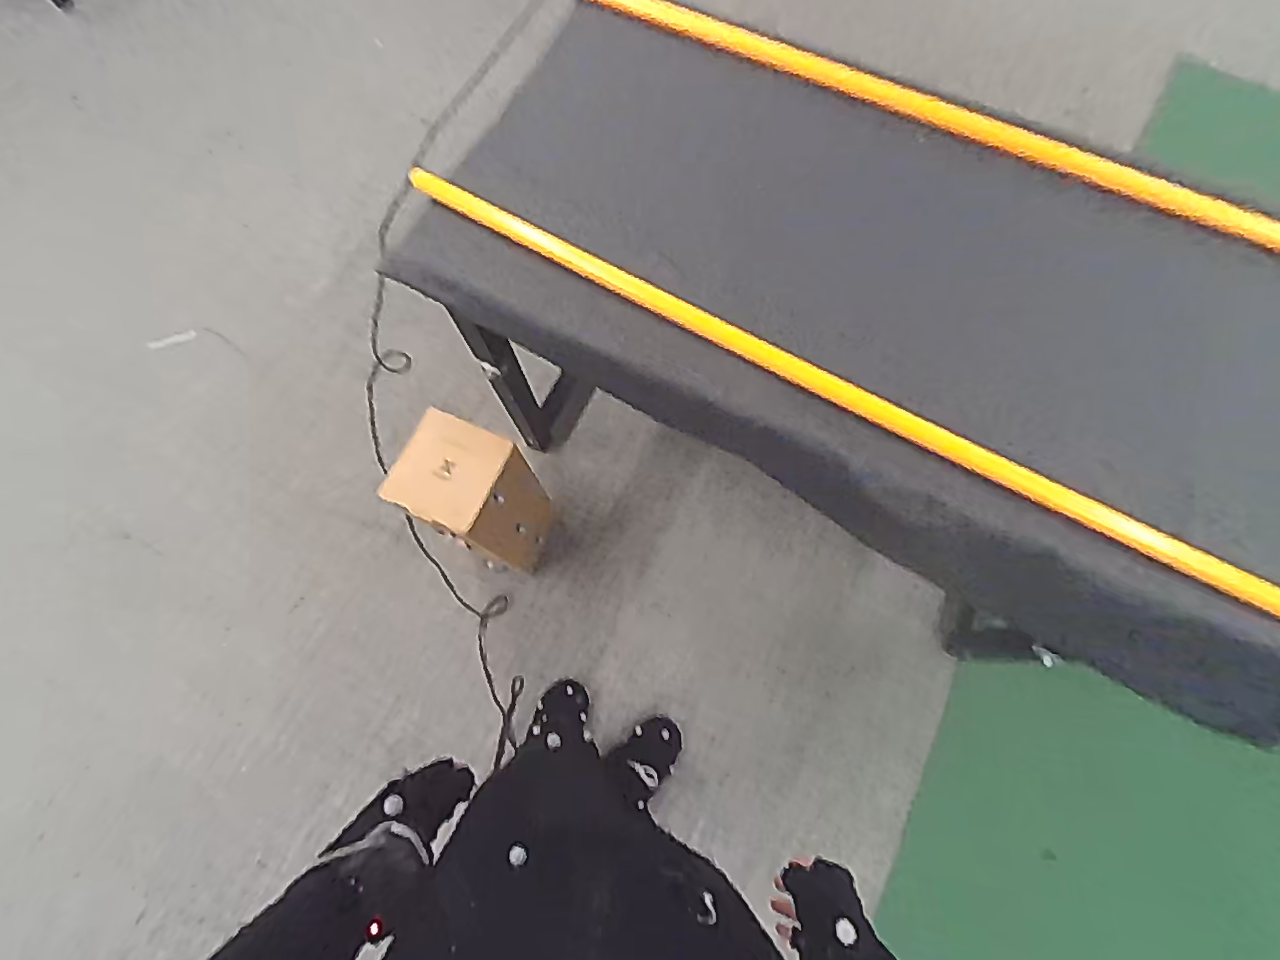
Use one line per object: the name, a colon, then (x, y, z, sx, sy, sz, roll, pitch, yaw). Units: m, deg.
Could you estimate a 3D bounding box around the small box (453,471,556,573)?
small box: (-0.308, 0.105, 1.278, 0.168, 0.176, 0.179, 19, 75, 7)
